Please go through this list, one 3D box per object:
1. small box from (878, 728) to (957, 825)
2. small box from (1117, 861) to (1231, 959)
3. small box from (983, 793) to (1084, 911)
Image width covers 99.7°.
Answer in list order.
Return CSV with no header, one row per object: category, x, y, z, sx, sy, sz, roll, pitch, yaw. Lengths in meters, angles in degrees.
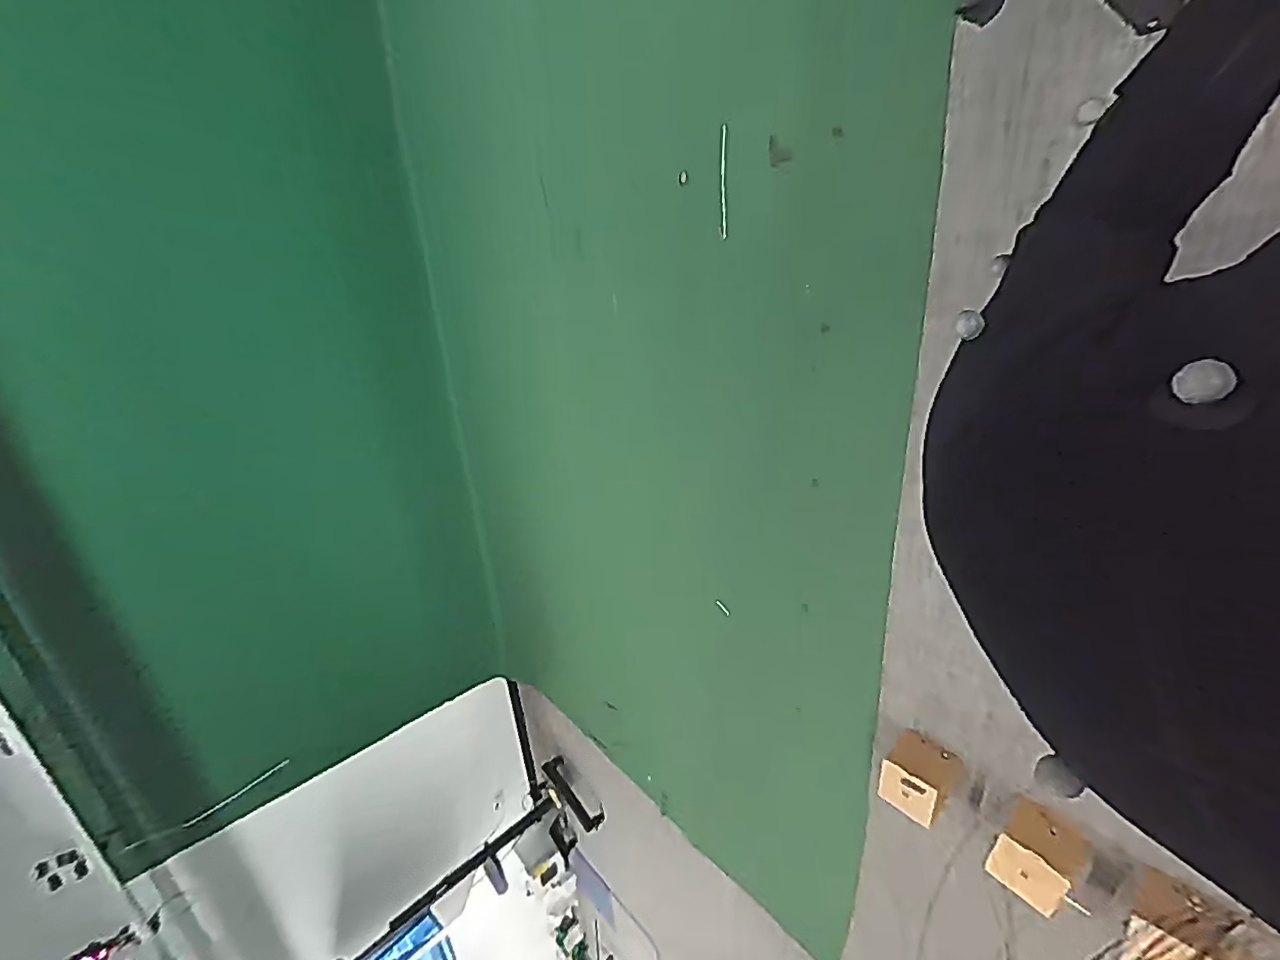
small box,0.891,0.939,1.733,0.168,0.176,0.179,21,124,45
small box,1.292,1.089,1.307,0.168,0.176,0.179,15,117,45
small box,1.104,1.033,1.514,0.168,0.176,0.179,27,126,42
